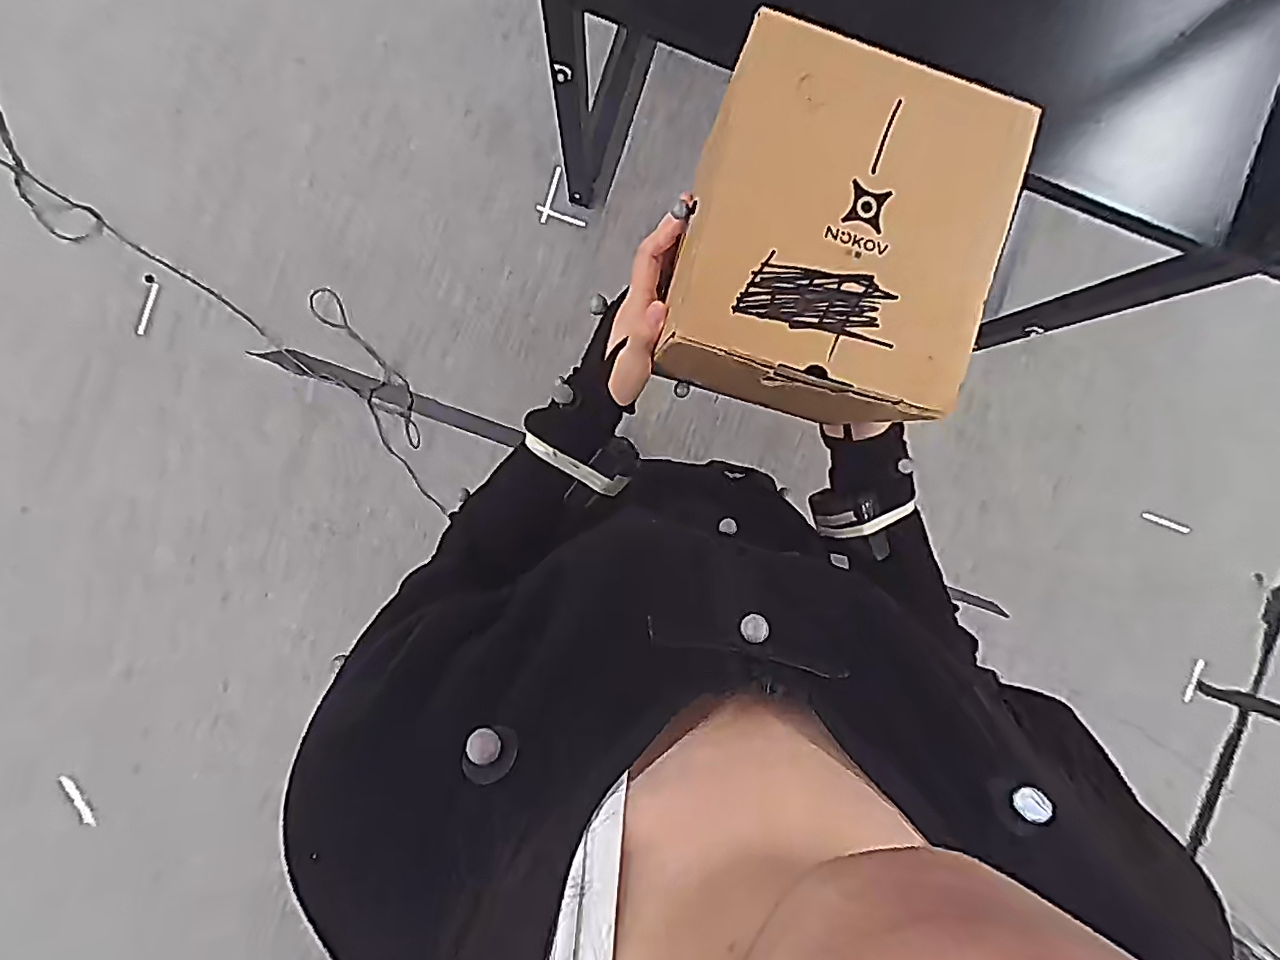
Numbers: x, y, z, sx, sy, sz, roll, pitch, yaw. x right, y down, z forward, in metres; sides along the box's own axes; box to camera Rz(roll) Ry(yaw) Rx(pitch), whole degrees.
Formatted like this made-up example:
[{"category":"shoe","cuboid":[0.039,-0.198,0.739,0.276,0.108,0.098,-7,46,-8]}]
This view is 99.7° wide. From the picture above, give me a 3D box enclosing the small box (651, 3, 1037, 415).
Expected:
[{"category":"small box","cuboid":[0.109,-0.148,0.368,0.168,0.176,0.179,15,93,-6]}]
